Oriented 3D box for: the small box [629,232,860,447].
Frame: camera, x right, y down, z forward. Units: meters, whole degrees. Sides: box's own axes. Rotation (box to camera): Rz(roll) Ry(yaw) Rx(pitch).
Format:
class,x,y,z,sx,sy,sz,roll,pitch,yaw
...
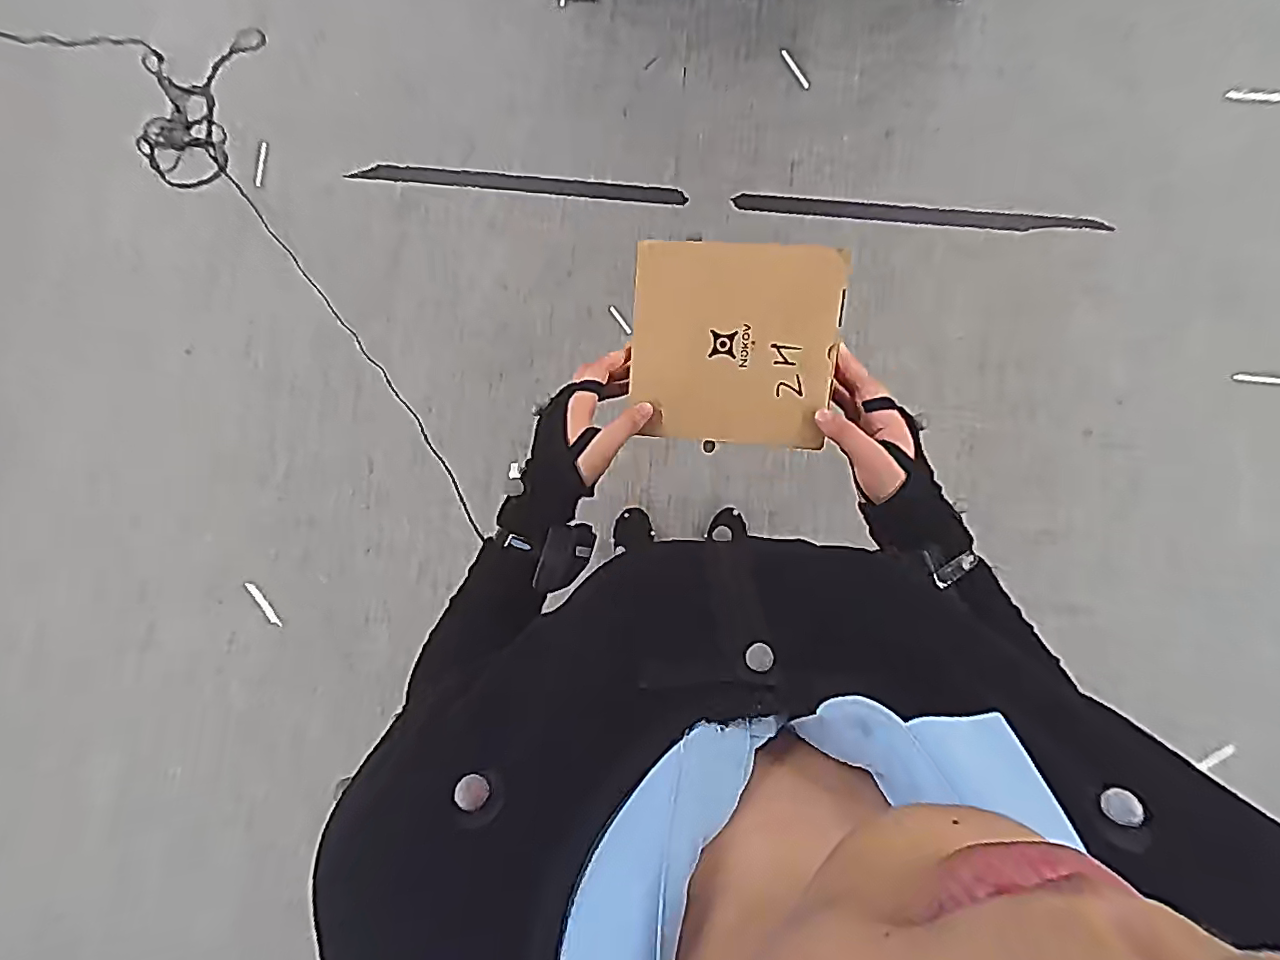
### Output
class,x,y,z,sx,sy,sz,roll,pitch,yaw
small box,0.090,-0.131,0.528,0.179,0.176,0.168,5,102,4
